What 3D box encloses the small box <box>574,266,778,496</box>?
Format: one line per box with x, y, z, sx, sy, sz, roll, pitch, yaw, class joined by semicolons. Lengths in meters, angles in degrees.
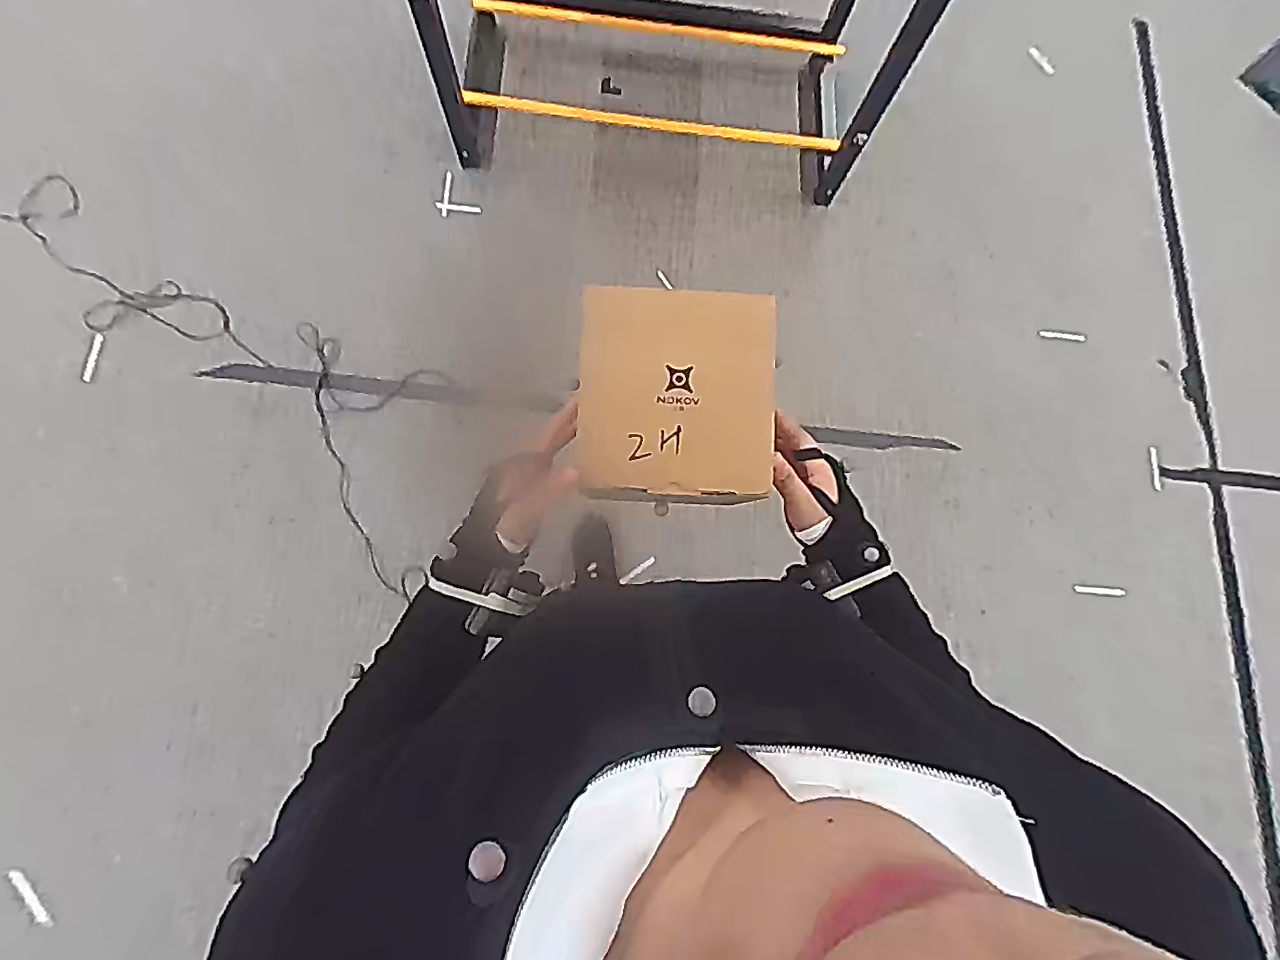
0.029;-0.081;0.525;0.168;0.176;0.179;2;84;-1;small box
